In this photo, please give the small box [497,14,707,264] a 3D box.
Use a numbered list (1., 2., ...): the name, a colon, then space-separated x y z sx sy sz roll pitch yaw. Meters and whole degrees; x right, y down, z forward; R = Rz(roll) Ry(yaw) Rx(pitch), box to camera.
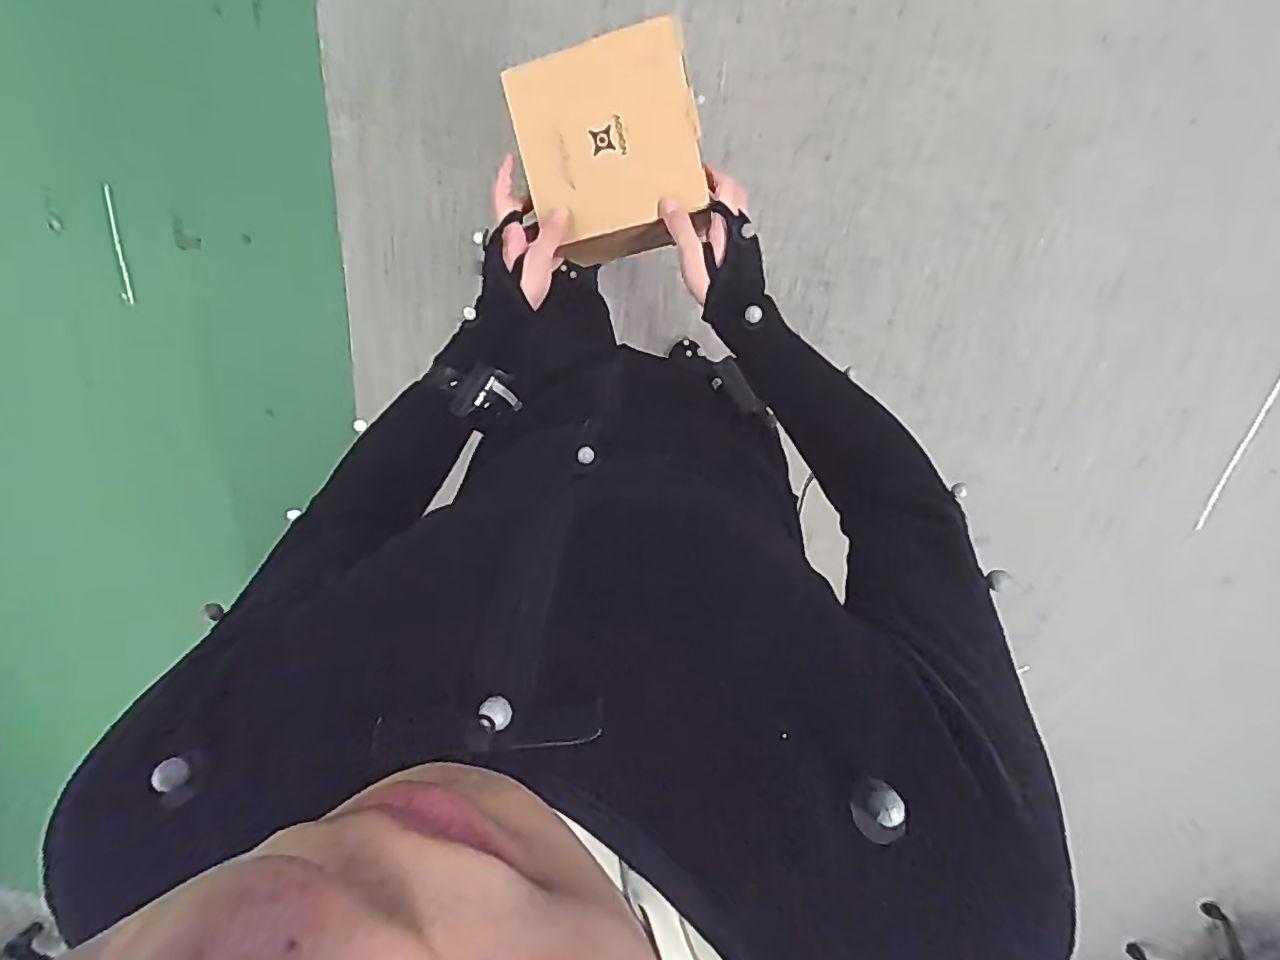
1. small box: -0.026 -0.344 0.586 0.179 0.176 0.168 -9 104 11
